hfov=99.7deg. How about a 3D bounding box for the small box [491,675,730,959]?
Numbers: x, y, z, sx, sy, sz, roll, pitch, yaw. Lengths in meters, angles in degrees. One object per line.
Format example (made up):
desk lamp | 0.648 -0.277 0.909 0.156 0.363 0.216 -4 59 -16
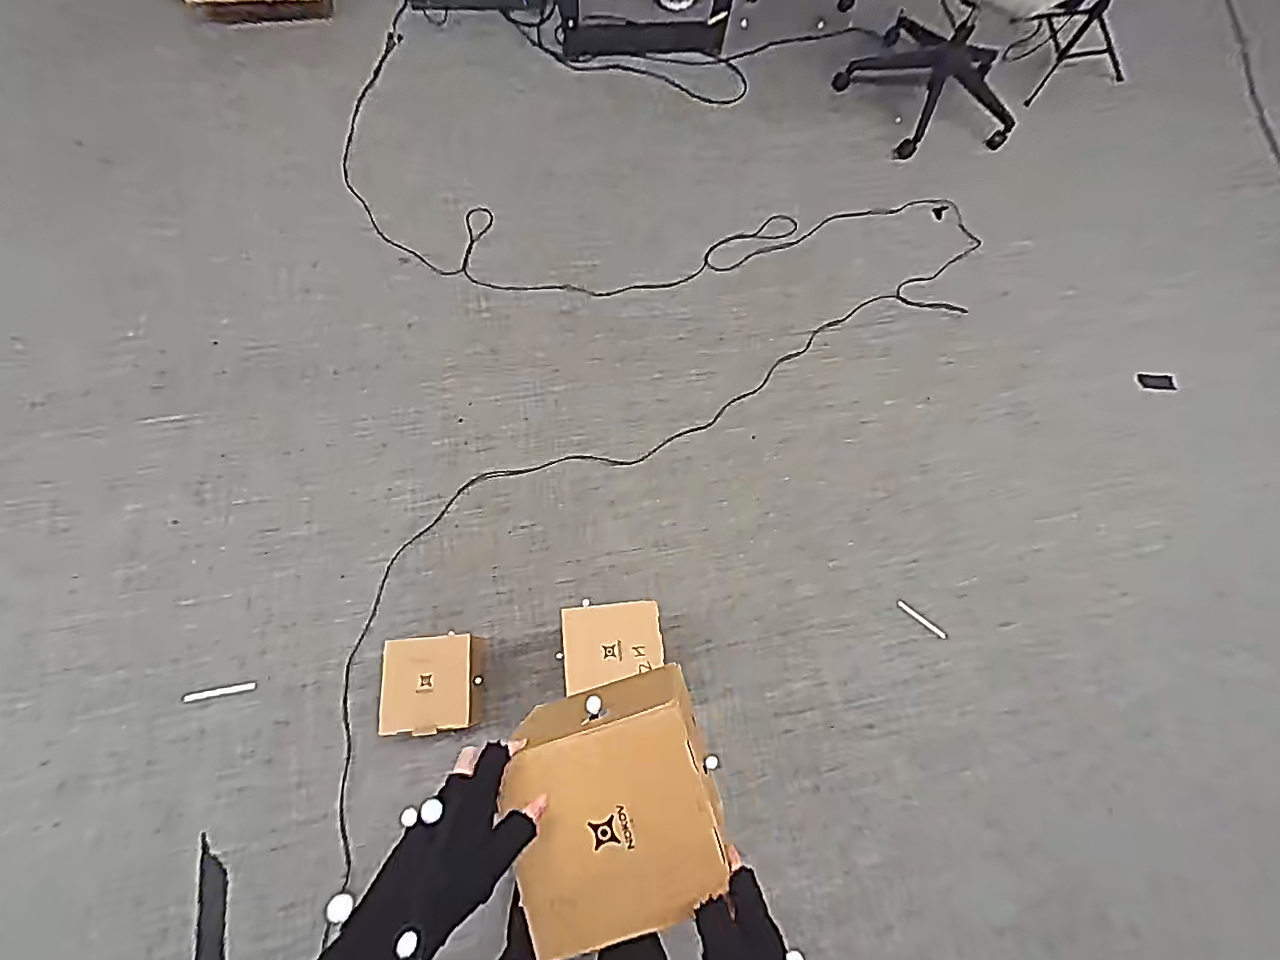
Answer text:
small box | -0.023 0.312 0.539 0.179 0.176 0.168 -17 81 0

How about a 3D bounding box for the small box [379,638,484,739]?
small box | -0.420 0.425 1.118 0.168 0.176 0.179 -2 71 -7

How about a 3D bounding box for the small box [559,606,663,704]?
small box | -0.056 0.334 1.010 0.179 0.176 0.168 -3 71 -8
